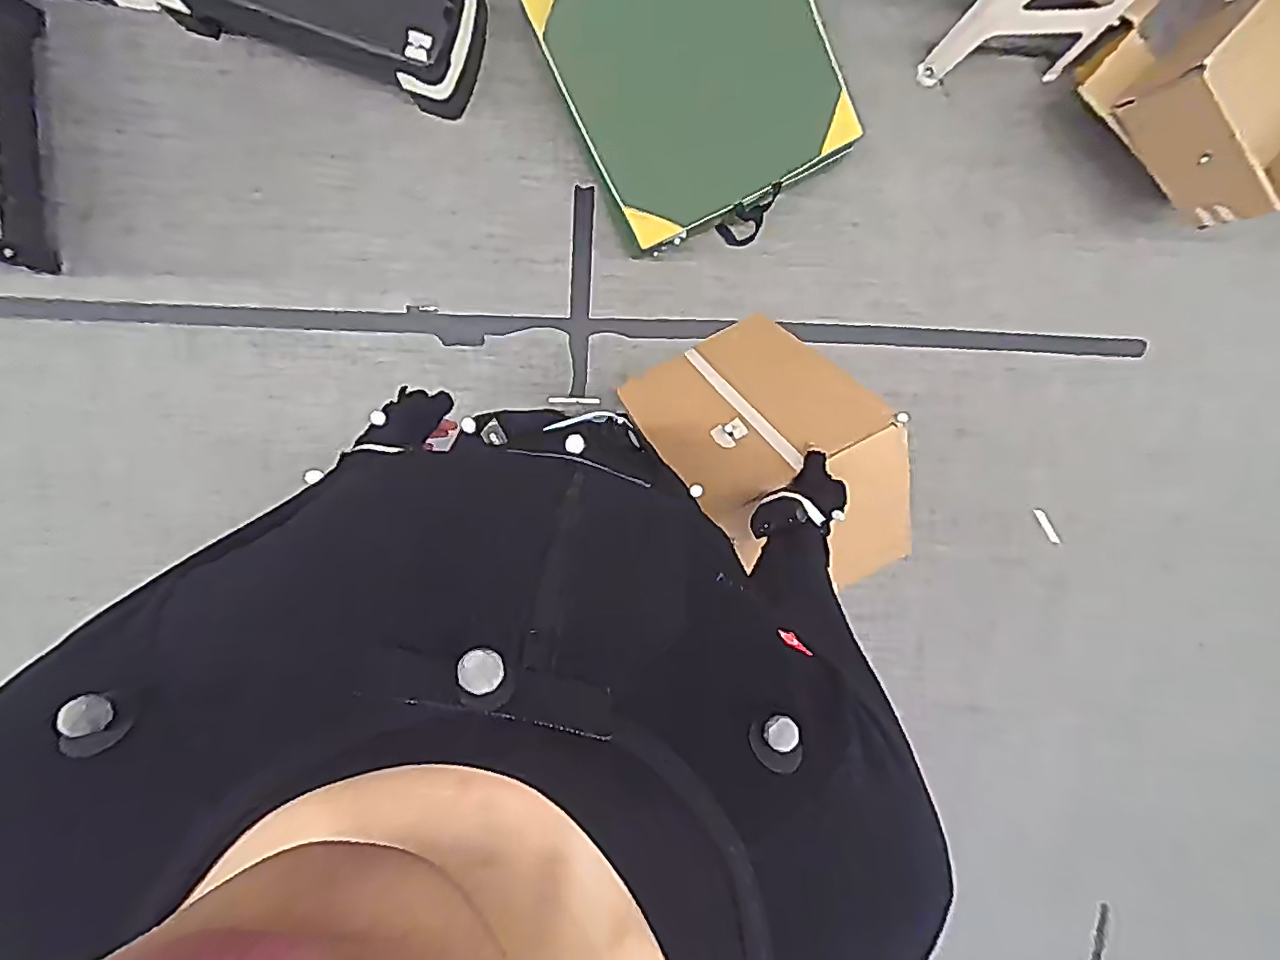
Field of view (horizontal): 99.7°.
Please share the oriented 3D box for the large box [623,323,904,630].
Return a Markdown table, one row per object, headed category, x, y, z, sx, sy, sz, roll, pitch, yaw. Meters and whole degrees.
| category | x | y | z | sx | sy | sz | roll | pitch | yaw |
| --- | --- | --- | --- | --- | --- | --- | --- | --- | --- |
| large box | 0.214 | -0.018 | 0.983 | 0.320 | 0.408 | 0.320 | -29 | 132 | 1 |
